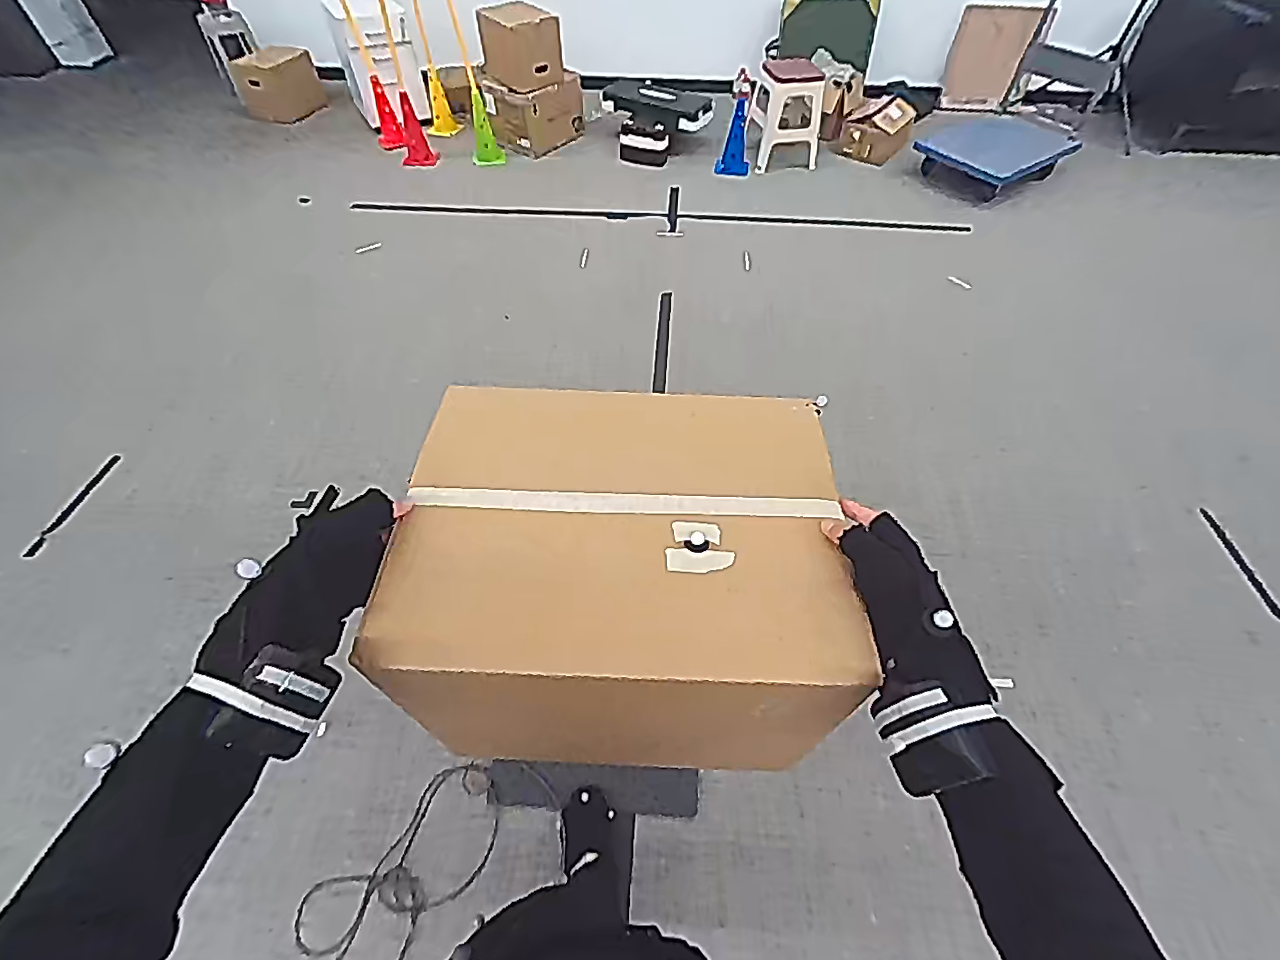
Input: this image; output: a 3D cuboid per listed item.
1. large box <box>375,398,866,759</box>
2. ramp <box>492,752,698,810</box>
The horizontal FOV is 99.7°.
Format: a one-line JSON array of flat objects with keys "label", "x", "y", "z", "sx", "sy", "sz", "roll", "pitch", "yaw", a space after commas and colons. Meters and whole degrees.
[{"label": "large box", "x": -0.017, "y": 0.124, "z": 0.637, "sx": 0.408, "sy": 0.320, "sz": 0.320, "roll": 3, "pitch": 51, "yaw": 0}, {"label": "ramp", "x": -0.078, "y": 0.316, "z": 1.490, "sx": 0.509, "sy": 0.206, "sz": 0.991, "roll": 2, "pitch": 53, "yaw": 0}]
